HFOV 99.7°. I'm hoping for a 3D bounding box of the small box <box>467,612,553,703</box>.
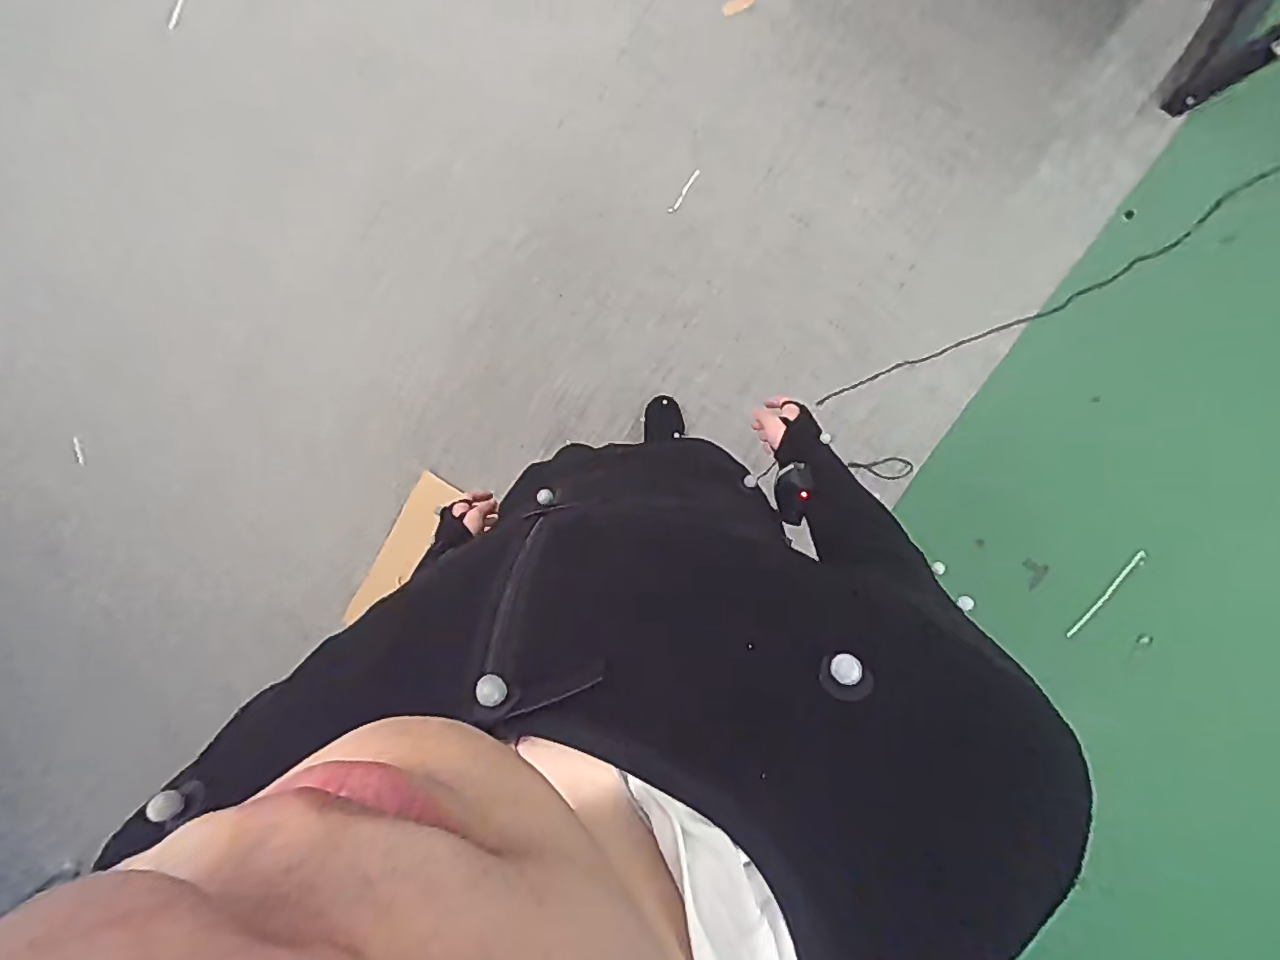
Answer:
[{"bbox_3d":[-0.395,0.543,1.681,0.179,0.176,0.168,38,101,-1],"label":"small box"}]
